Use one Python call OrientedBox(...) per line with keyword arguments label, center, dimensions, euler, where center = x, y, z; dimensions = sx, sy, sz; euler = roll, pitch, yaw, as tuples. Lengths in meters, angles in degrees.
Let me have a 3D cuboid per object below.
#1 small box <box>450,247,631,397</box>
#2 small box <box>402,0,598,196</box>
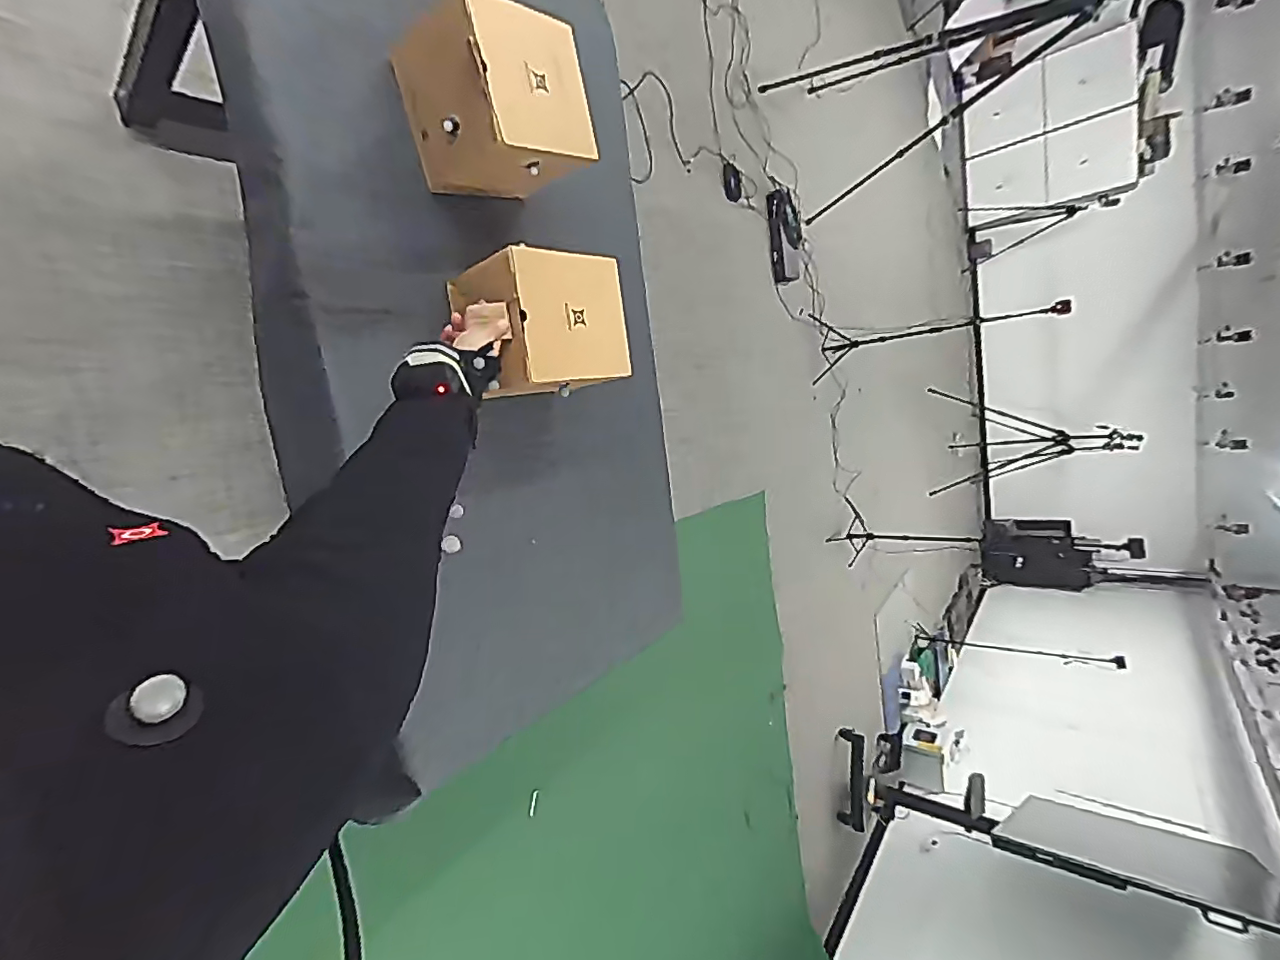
OrientedBox(label="small box", center=(-0.138, -0.210, 0.757), dimensions=(0.179, 0.176, 0.168), euler=(-15, 101, -43))
OrientedBox(label="small box", center=(-0.188, -0.494, 0.717), dimensions=(0.179, 0.176, 0.168), euler=(-30, 113, -48))
